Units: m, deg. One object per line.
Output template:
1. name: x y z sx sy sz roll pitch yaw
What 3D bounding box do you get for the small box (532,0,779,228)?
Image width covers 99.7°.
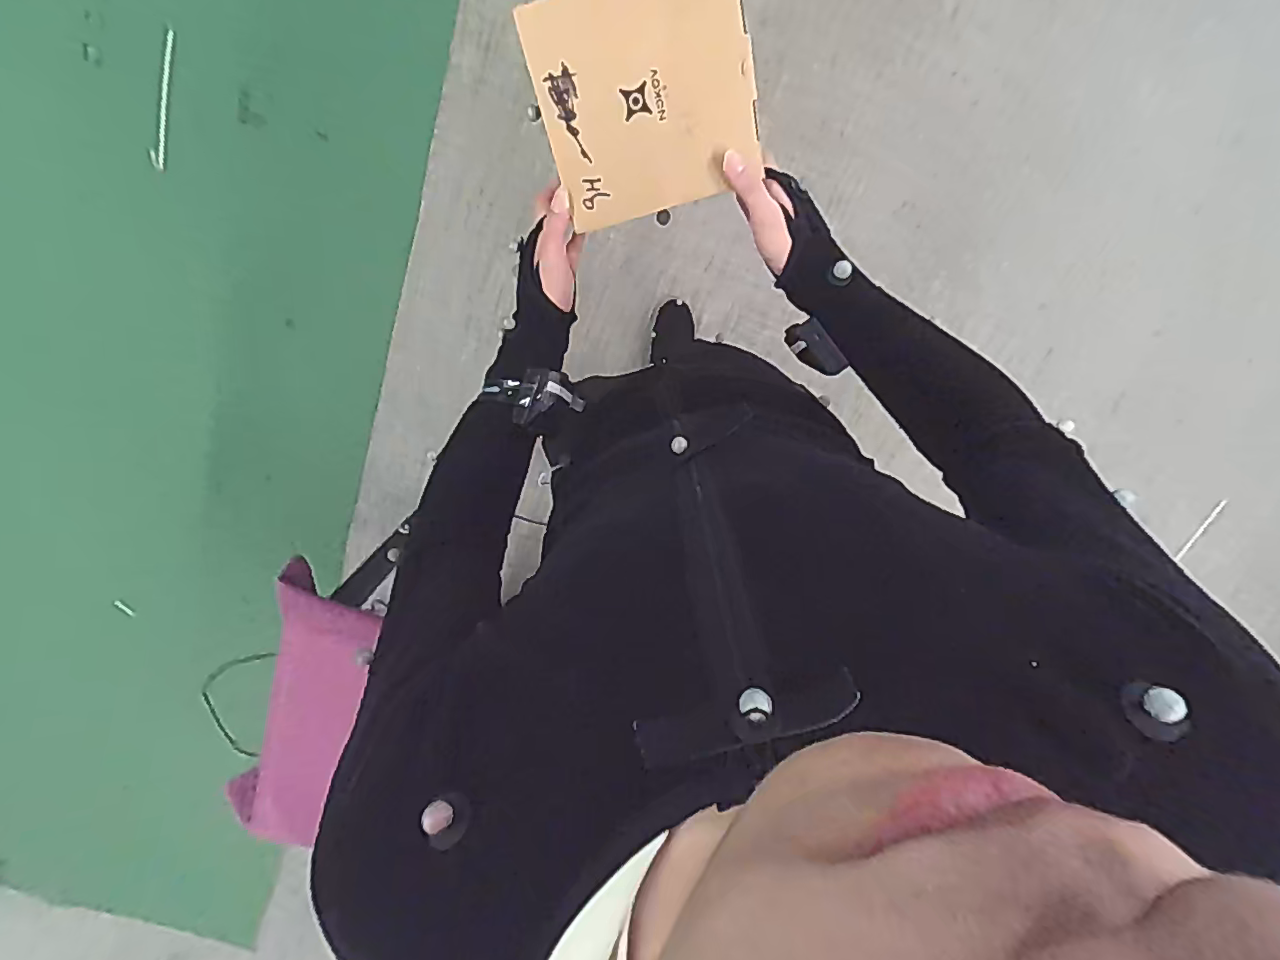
1. small box: 0.015 -0.346 0.505 0.179 0.176 0.168 -13 116 4
